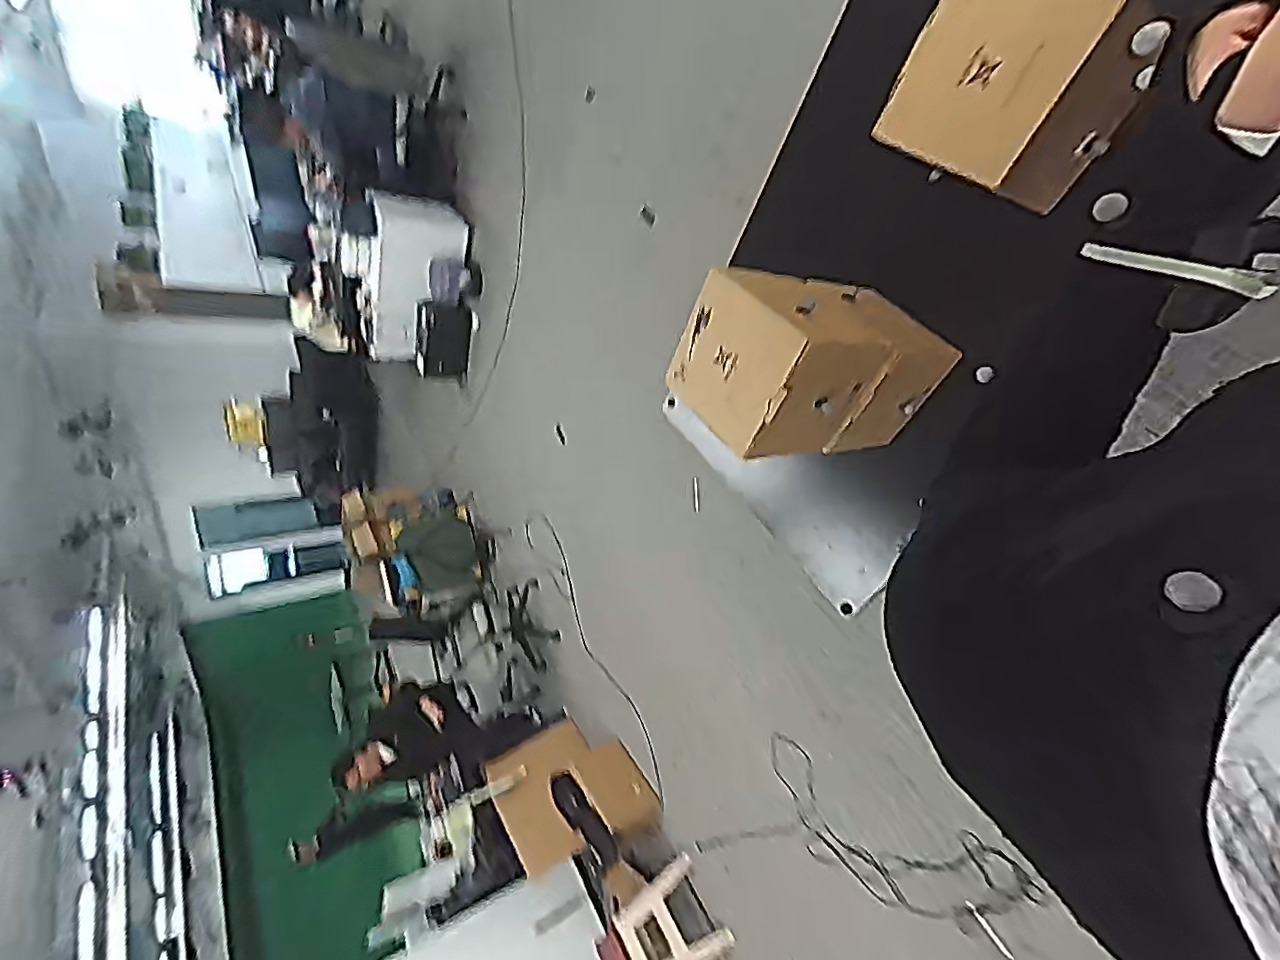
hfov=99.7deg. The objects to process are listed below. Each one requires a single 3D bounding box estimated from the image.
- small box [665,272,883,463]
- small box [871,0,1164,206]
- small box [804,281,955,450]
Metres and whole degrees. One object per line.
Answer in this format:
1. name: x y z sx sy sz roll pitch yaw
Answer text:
1. small box: 0.169 -0.147 0.693 0.179 0.176 0.168 51 134 33
2. small box: 0.407 -0.424 0.596 0.179 0.176 0.168 51 136 33
3. small box: 0.304 -0.163 0.784 0.179 0.176 0.168 54 136 31
